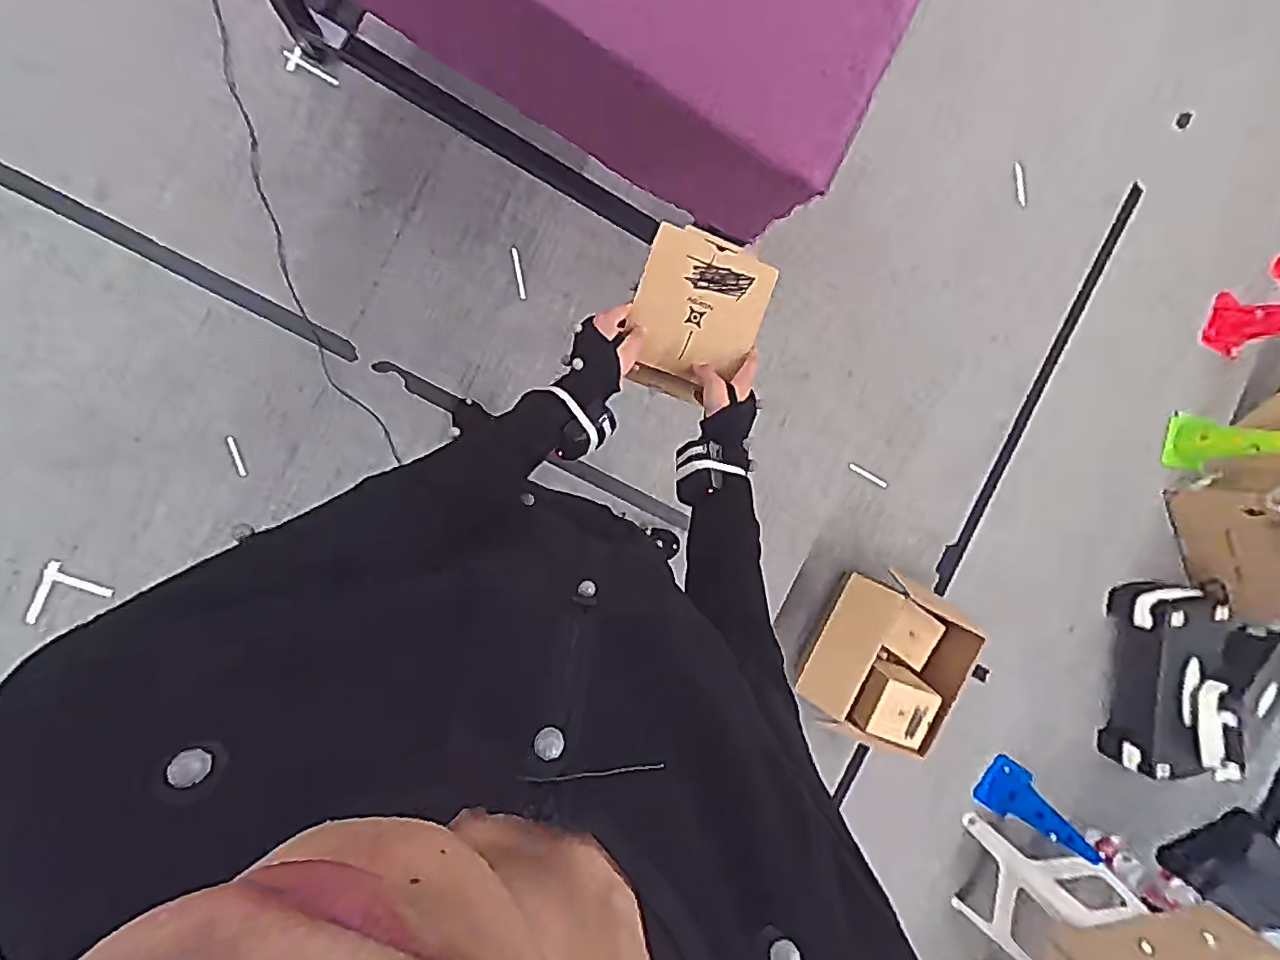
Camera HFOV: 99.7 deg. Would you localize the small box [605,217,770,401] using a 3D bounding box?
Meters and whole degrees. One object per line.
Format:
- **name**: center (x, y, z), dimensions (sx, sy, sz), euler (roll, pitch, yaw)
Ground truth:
- **small box**: center (0.054, -0.223, 0.758), dimensions (0.168, 0.176, 0.179), euler (19, 91, -8)
